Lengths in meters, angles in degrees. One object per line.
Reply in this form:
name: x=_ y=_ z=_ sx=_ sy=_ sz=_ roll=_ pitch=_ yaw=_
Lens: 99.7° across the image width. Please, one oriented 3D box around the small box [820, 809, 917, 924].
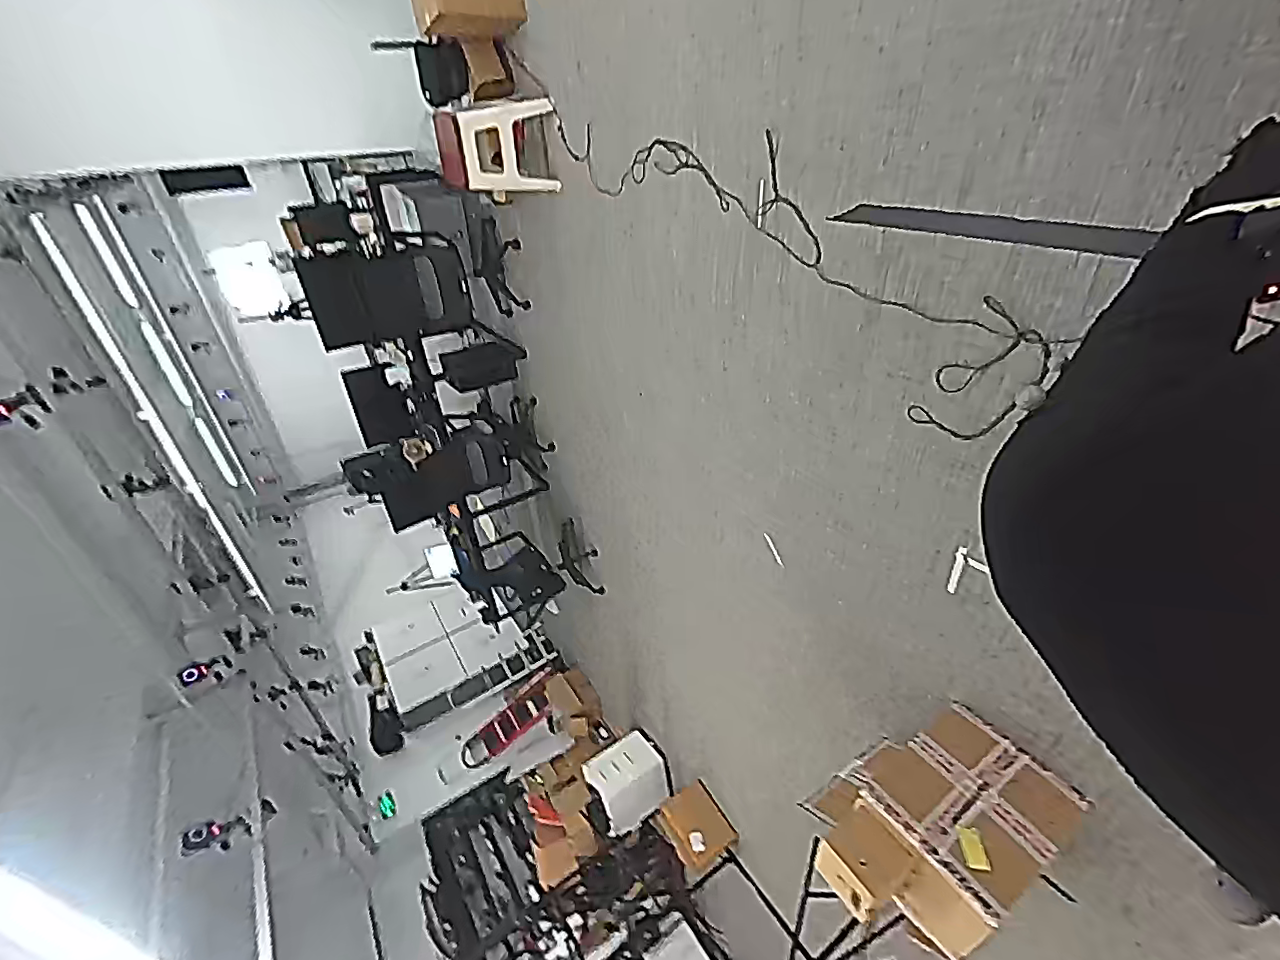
small box: x=0.638 y=1.074 z=1.516 sx=0.179 sy=0.176 sz=0.168 roll=39 pitch=140 yaw=47
